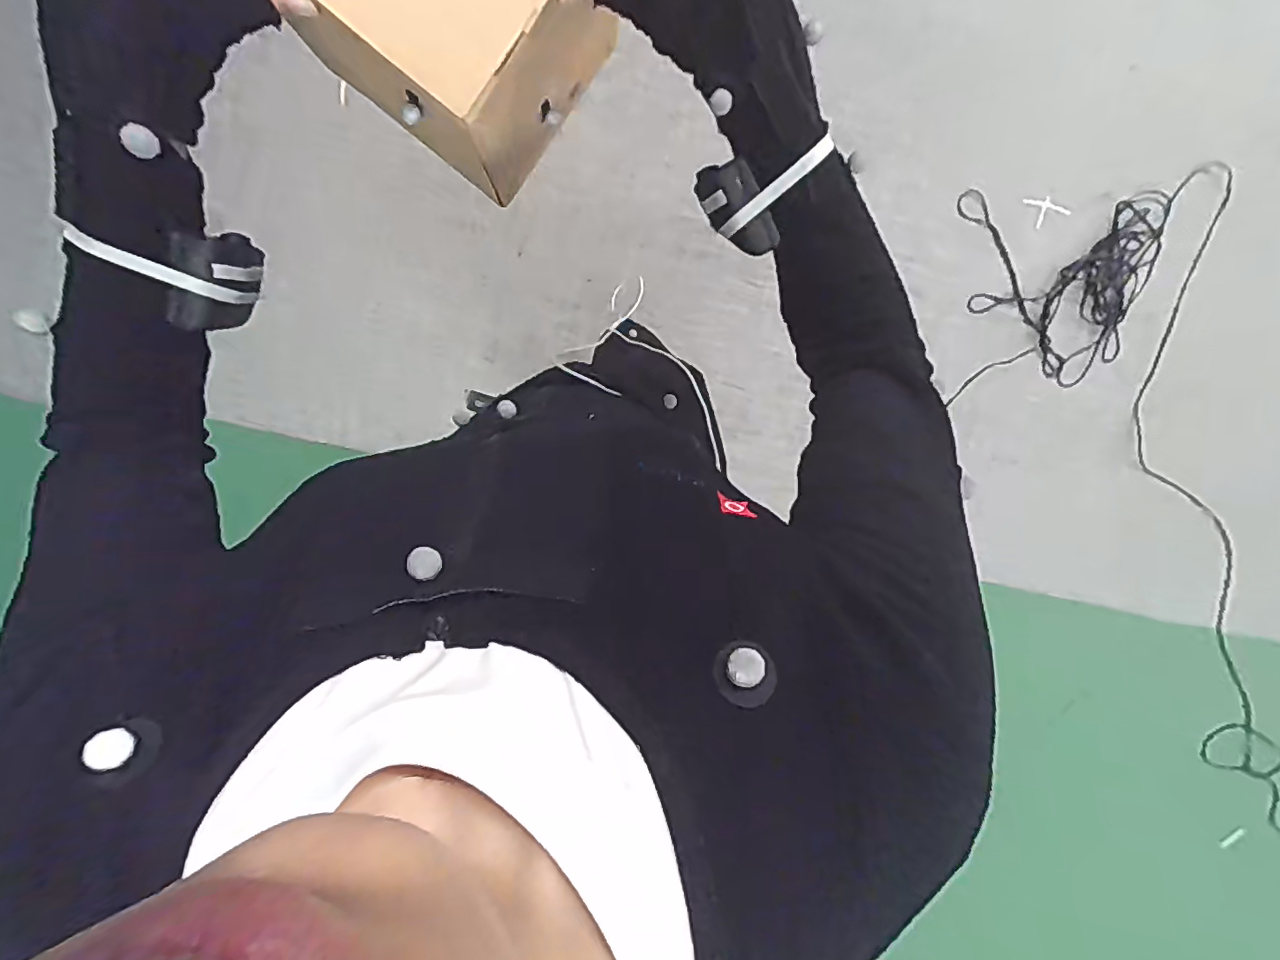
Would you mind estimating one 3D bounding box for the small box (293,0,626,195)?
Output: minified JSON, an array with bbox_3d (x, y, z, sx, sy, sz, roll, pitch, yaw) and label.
[{"bbox_3d":[-0.124,-0.337,0.372,0.179,0.176,0.168,37,95,-13],"label":"small box"}]
